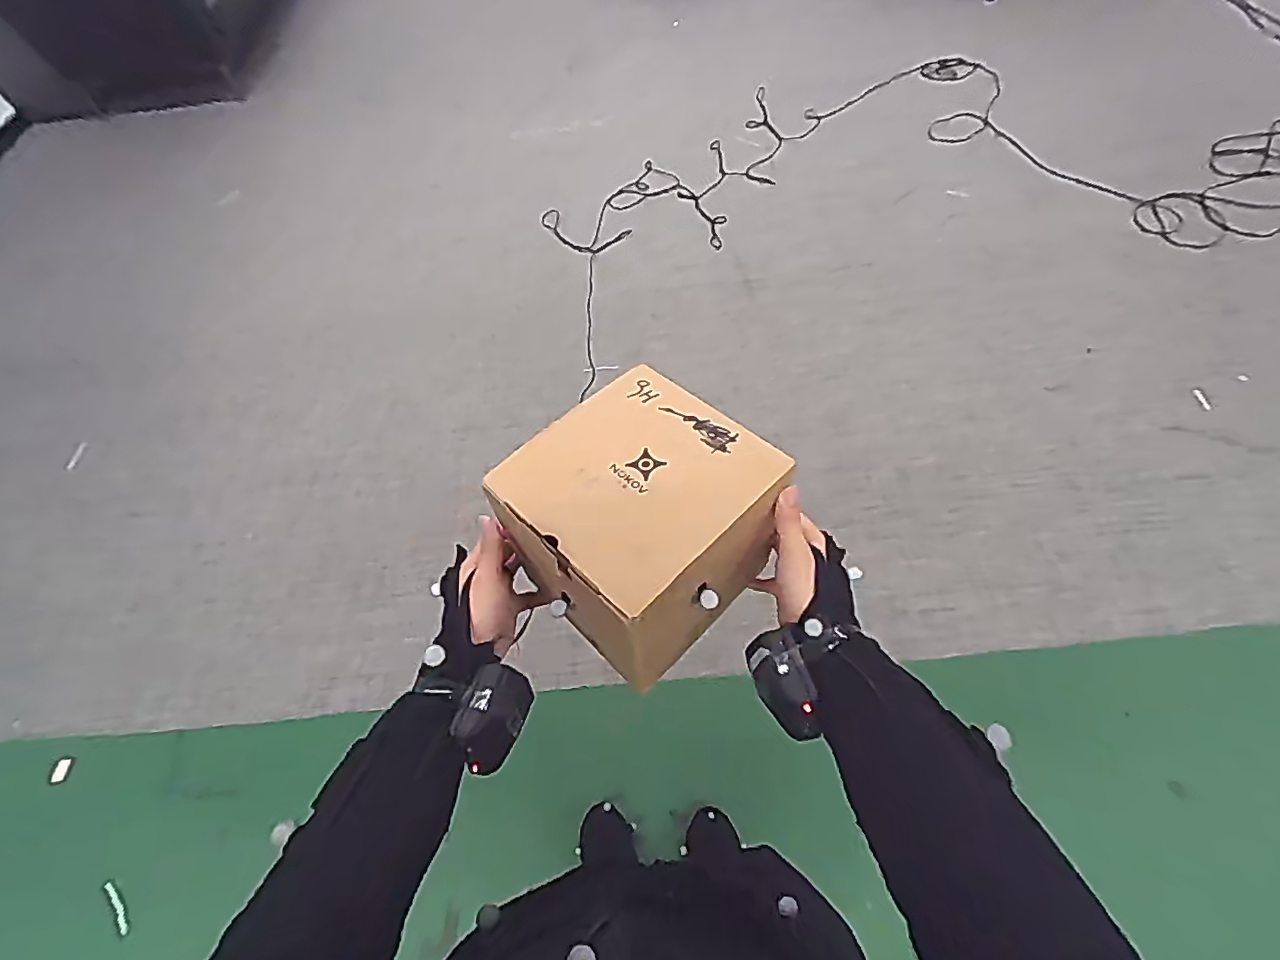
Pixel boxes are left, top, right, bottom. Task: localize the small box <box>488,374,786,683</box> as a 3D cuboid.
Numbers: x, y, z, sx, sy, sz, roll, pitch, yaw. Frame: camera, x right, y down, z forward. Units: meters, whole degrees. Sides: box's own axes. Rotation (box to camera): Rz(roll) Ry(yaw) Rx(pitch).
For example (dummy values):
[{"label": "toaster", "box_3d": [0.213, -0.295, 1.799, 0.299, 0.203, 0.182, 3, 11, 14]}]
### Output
[{"label": "small box", "box_3d": [0.004, 0.047, 0.479, 0.168, 0.176, 0.179, 38, 66, 26]}]
